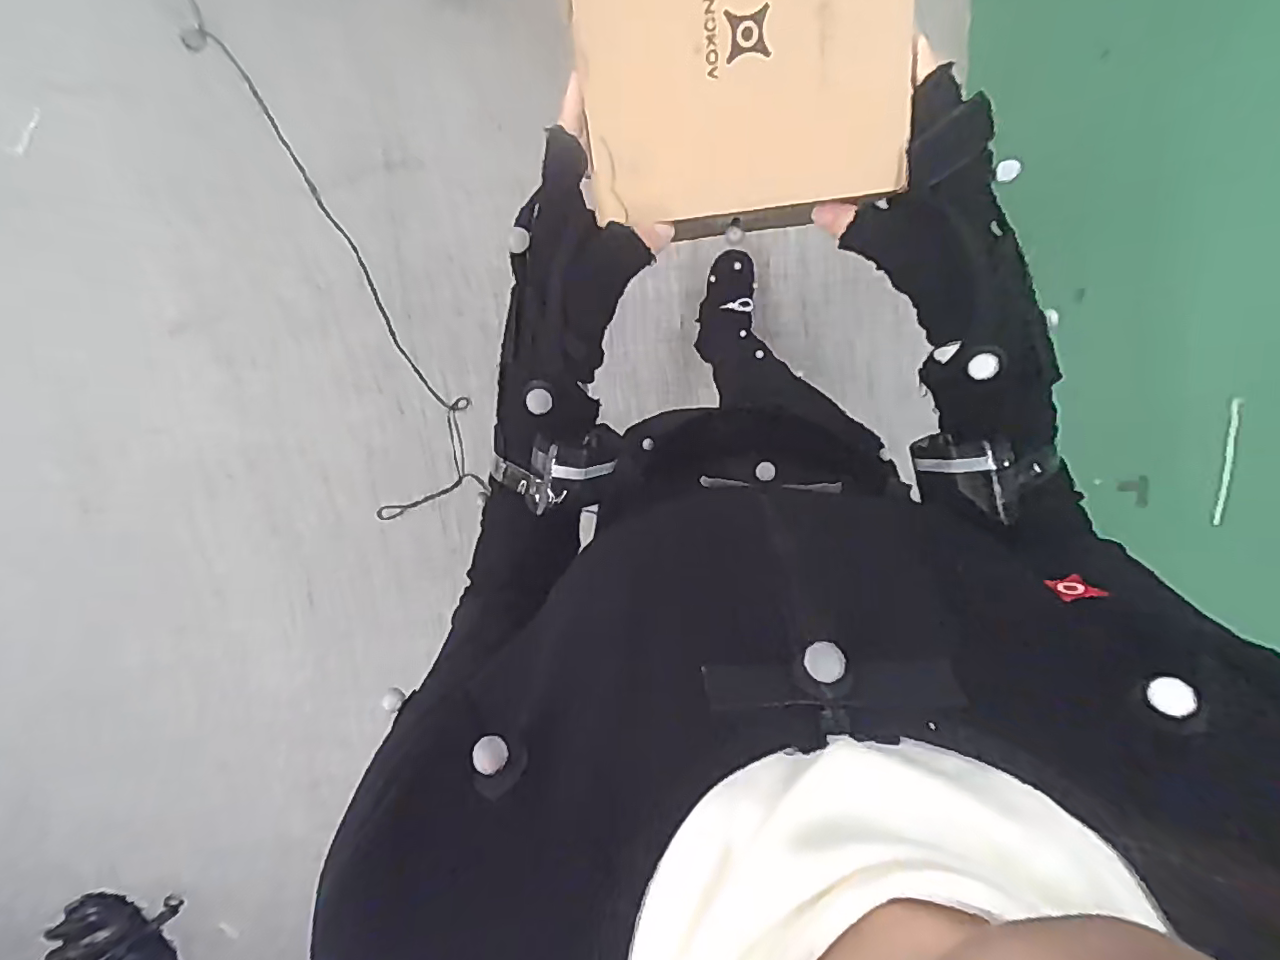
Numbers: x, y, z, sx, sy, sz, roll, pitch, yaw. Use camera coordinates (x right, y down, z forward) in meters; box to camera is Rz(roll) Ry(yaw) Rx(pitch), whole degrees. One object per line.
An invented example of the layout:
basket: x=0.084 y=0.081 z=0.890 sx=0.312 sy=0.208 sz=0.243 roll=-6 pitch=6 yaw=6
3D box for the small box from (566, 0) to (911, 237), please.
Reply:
small box: x=0.056 y=-0.263 z=0.356 sx=0.179 sy=0.176 sz=0.168 roll=-6 pitch=110 yaw=5
